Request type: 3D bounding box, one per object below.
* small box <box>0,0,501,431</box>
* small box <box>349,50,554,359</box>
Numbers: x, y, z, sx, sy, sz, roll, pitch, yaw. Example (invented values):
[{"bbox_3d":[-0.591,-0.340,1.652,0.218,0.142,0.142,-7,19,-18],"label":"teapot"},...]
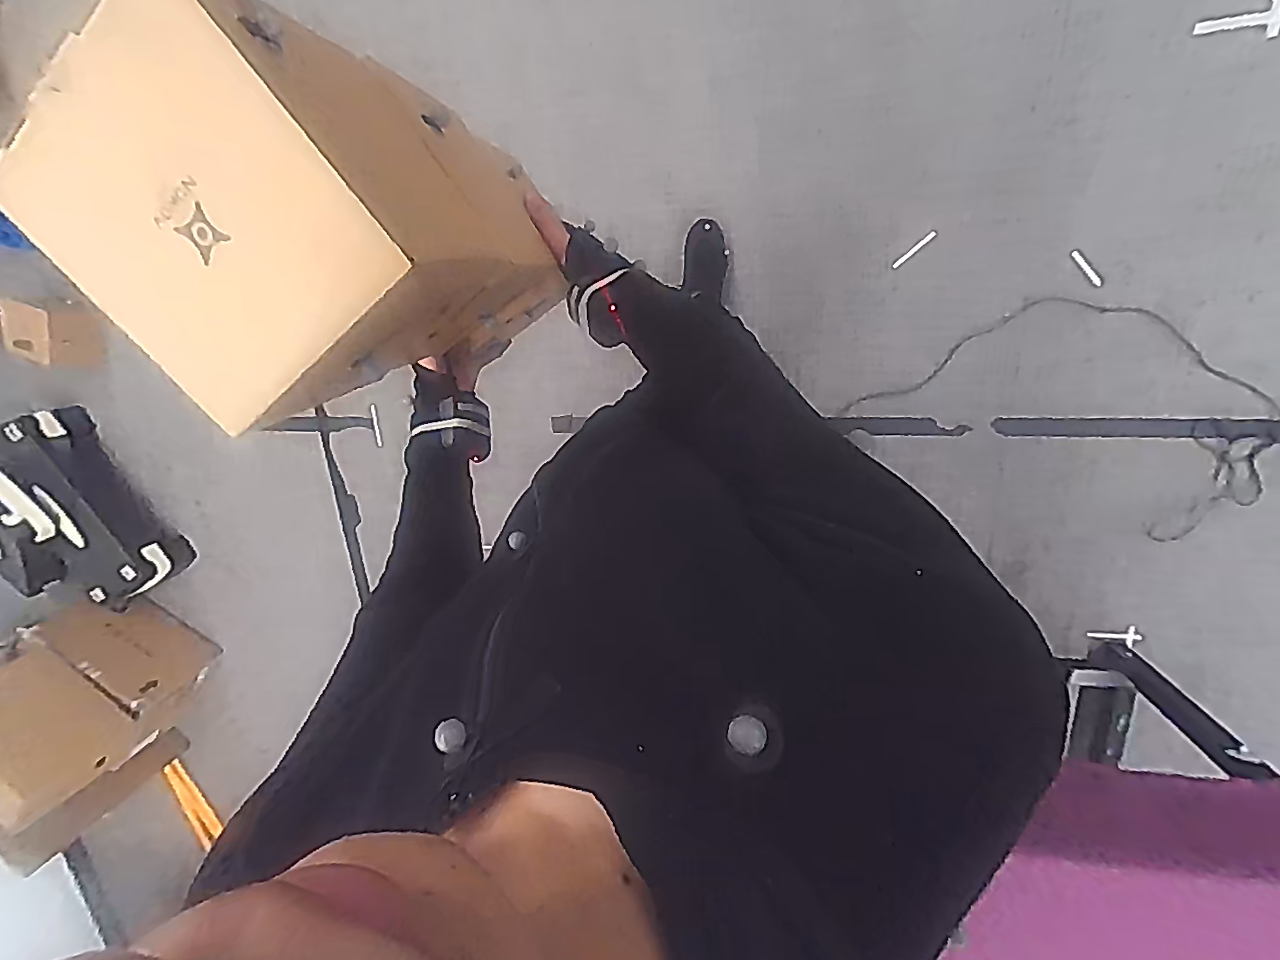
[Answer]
[{"bbox_3d":[-0.222,-0.165,0.353,0.168,0.176,0.179,-34,104,17],"label":"small box"},{"bbox_3d":[-0.206,-0.230,0.502,0.168,0.176,0.179,-31,106,17],"label":"small box"}]
